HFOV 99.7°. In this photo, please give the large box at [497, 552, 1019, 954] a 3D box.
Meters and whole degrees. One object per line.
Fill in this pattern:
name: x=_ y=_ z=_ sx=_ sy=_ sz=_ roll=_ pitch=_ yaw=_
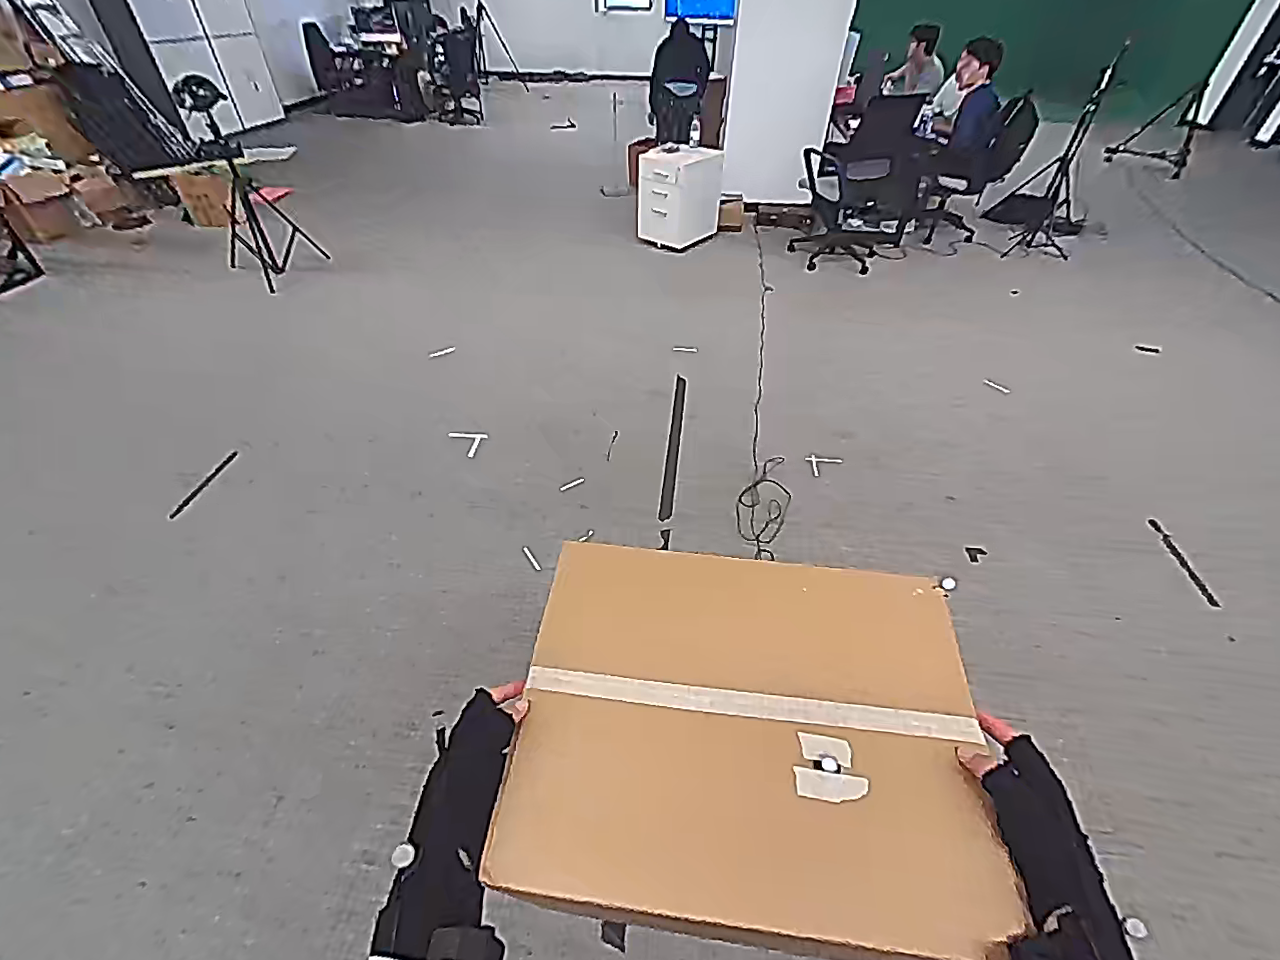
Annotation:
large box: x=0.099 y=0.310 z=0.617 sx=0.408 sy=0.320 sz=0.320 roll=5 pitch=50 yaw=5
